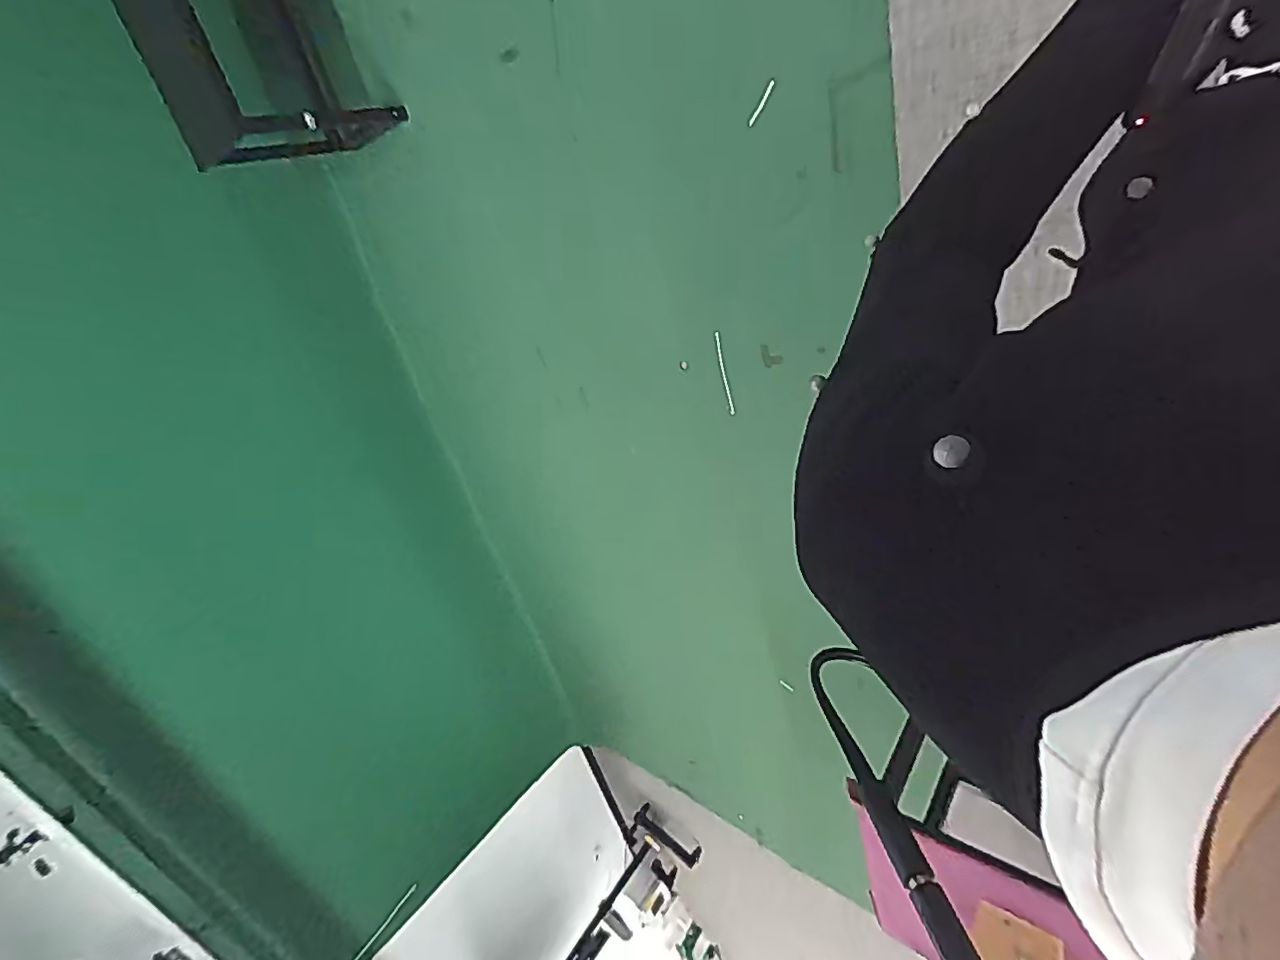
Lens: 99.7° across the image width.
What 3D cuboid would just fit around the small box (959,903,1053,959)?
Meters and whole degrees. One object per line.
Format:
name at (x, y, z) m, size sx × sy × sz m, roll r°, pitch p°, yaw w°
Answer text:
small box at (0.874, 1.174, 1.292) m, size 0.168 × 0.176 × 0.179 m, roll 4°, pitch 122°, yaw 44°
